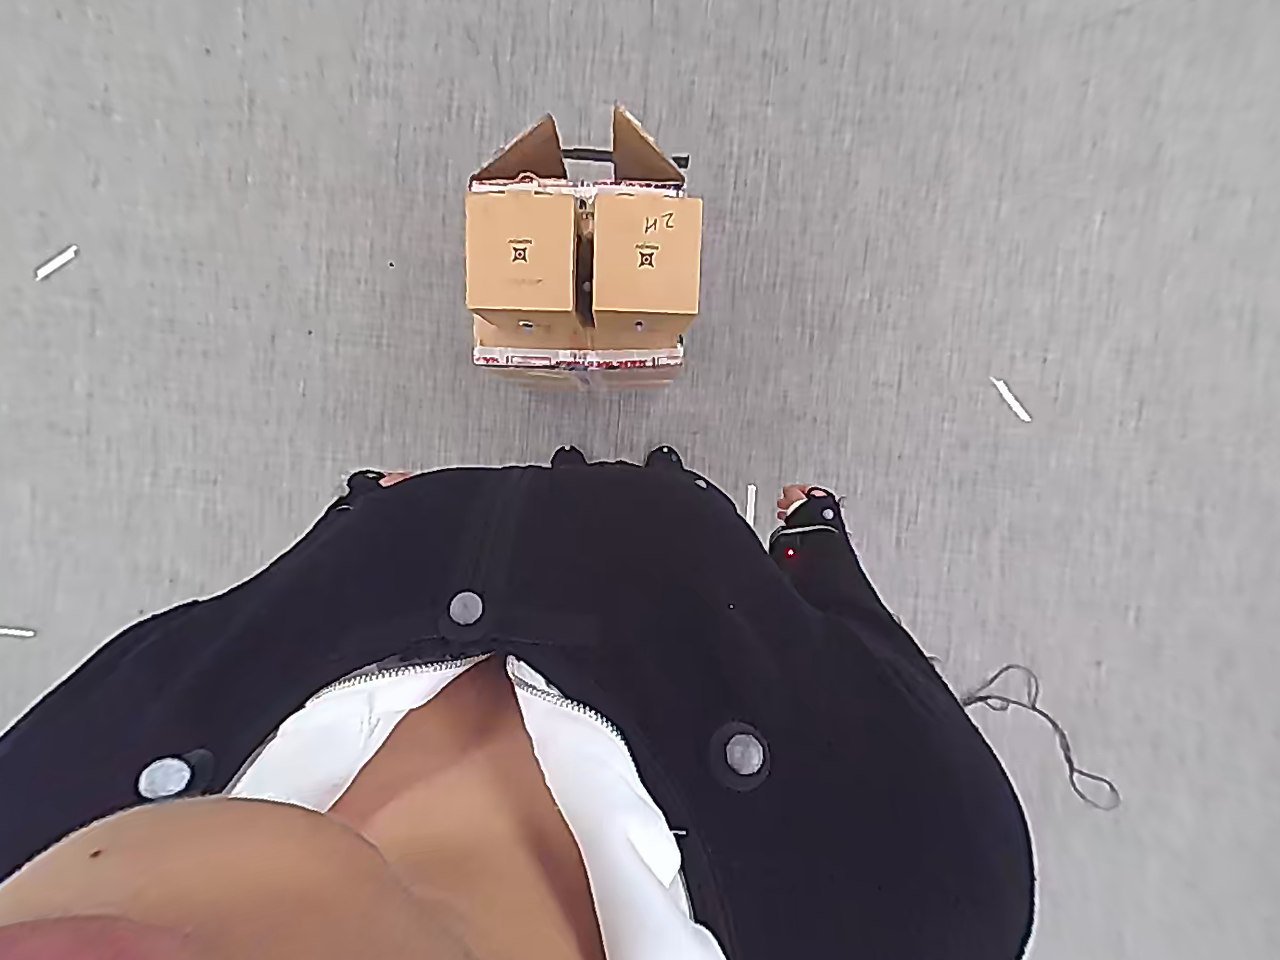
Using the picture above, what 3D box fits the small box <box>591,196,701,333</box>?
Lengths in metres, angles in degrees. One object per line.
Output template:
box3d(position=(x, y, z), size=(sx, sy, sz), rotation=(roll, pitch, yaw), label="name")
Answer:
box3d(position=(0.006, -0.349, 0.908), size=(0.168, 0.176, 0.179), rotation=(1, 95, -3), label="small box")

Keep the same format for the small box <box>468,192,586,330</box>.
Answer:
box3d(position=(-0.182, -0.355, 0.904), size=(0.168, 0.176, 0.179), rotation=(1, 97, 0), label="small box")
